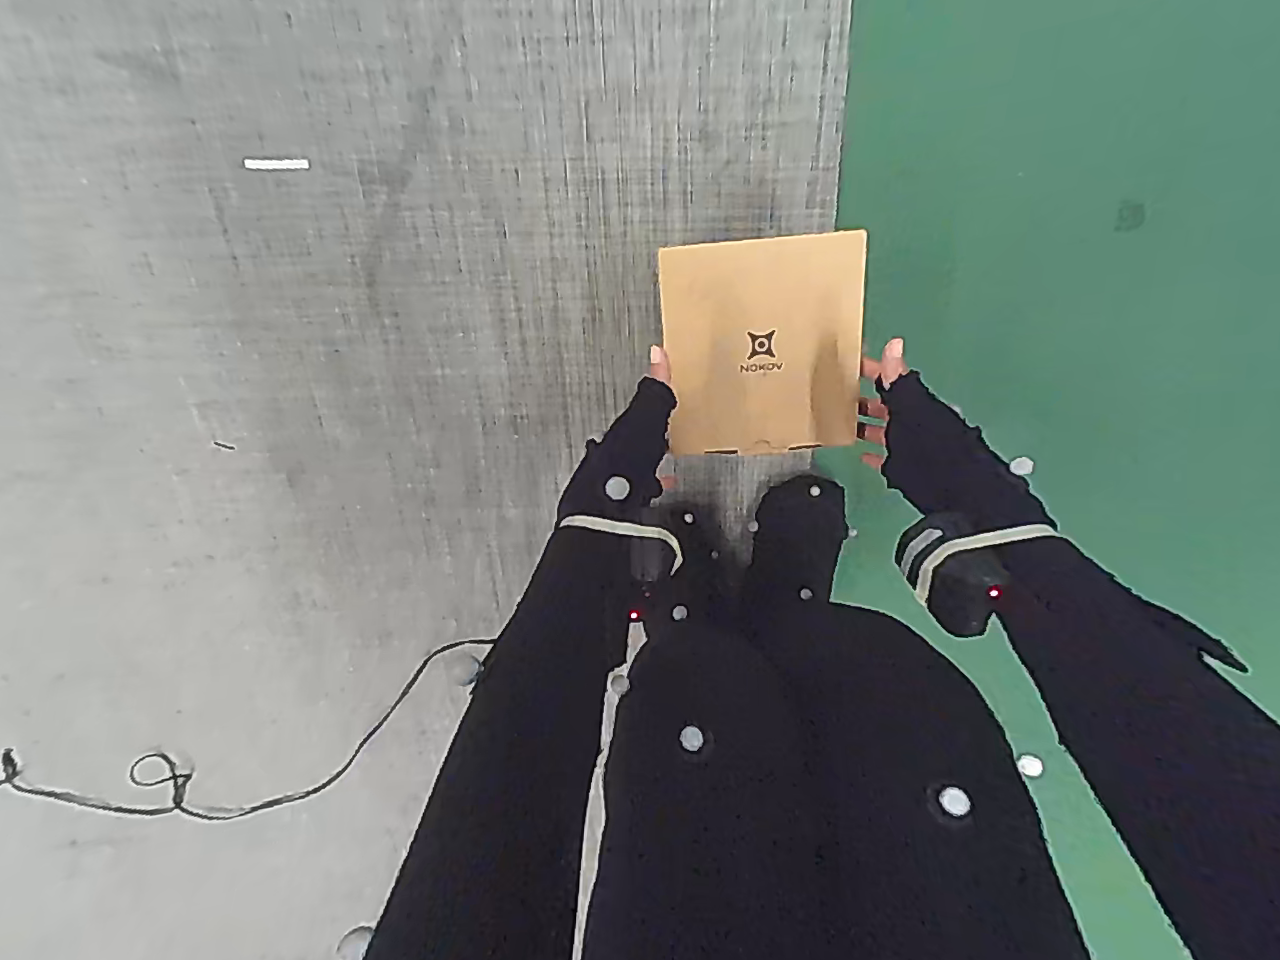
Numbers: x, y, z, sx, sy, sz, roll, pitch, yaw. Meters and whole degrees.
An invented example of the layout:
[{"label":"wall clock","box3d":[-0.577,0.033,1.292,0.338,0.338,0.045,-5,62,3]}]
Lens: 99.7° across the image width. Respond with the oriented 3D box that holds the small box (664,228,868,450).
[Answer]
[{"label":"small box","box3d":[0.109,-0.135,0.532,0.168,0.176,0.179,-3,107,4]}]
